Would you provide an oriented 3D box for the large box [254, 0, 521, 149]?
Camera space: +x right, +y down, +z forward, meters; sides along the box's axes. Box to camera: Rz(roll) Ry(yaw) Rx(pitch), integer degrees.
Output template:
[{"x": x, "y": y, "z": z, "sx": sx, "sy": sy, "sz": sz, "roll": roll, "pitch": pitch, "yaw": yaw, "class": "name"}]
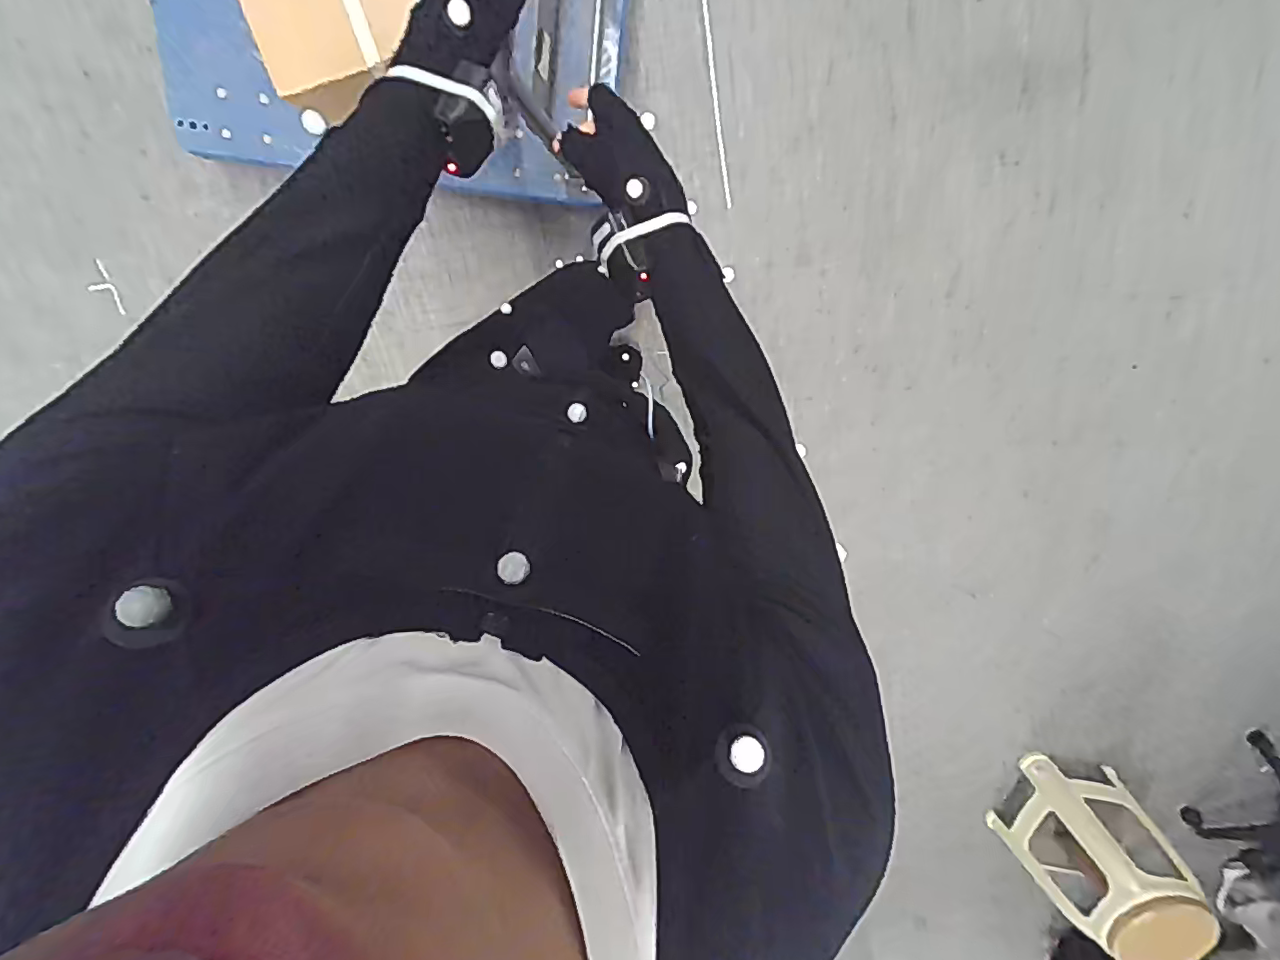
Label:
[{"x": -0.426, "y": -0.834, "z": 0.879, "sx": 0.320, "sy": 0.320, "sz": 0.408, "roll": -14, "pitch": 109, "yaw": 4, "class": "large box"}]
